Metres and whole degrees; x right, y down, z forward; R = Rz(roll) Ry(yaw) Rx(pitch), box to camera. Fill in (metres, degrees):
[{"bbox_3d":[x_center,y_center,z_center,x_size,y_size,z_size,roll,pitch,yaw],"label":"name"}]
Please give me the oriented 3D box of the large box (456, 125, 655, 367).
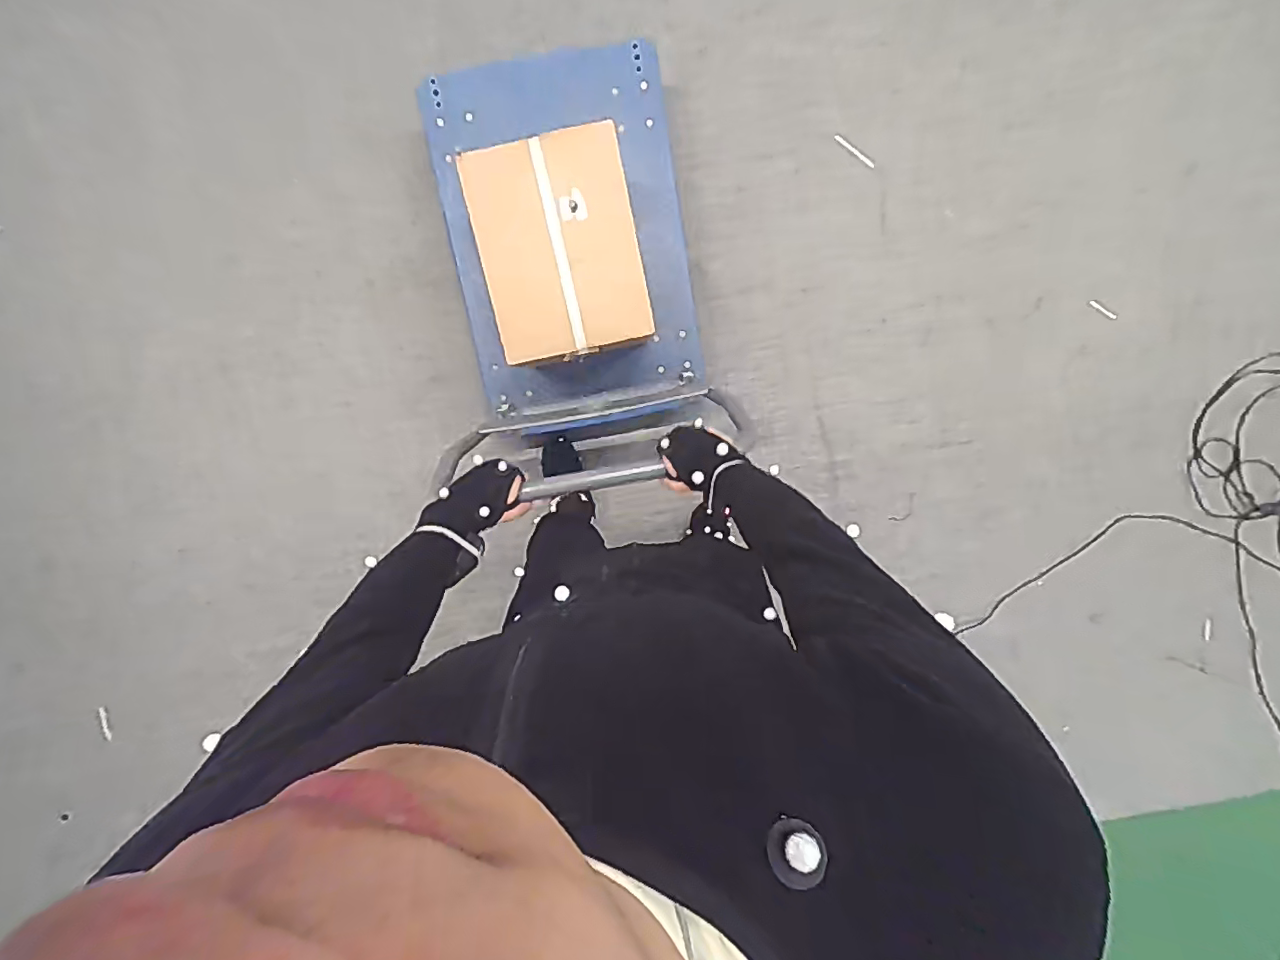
[{"bbox_3d":[-0.164,-0.488,1.220,0.320,0.320,0.408,-12,102,0],"label":"large box"}]
